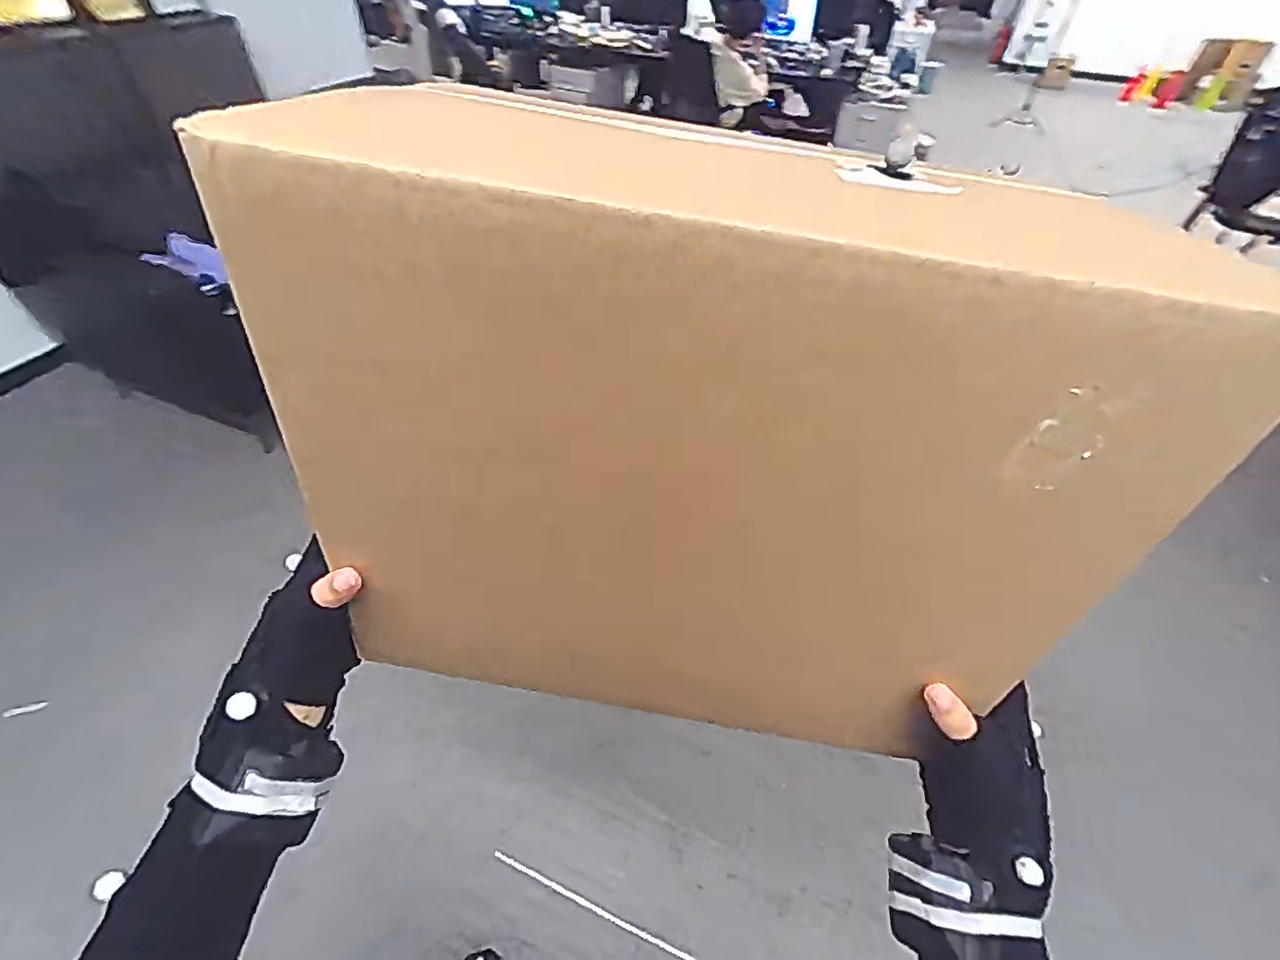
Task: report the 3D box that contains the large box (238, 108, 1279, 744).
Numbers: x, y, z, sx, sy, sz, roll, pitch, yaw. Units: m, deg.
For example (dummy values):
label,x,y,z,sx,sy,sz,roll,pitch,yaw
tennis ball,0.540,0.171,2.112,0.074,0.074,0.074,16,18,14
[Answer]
label,x,y,z,sx,sy,sz,roll,pitch,yaw
large box,0.040,-0.051,0.400,0.408,0.320,0.320,10,38,-1
